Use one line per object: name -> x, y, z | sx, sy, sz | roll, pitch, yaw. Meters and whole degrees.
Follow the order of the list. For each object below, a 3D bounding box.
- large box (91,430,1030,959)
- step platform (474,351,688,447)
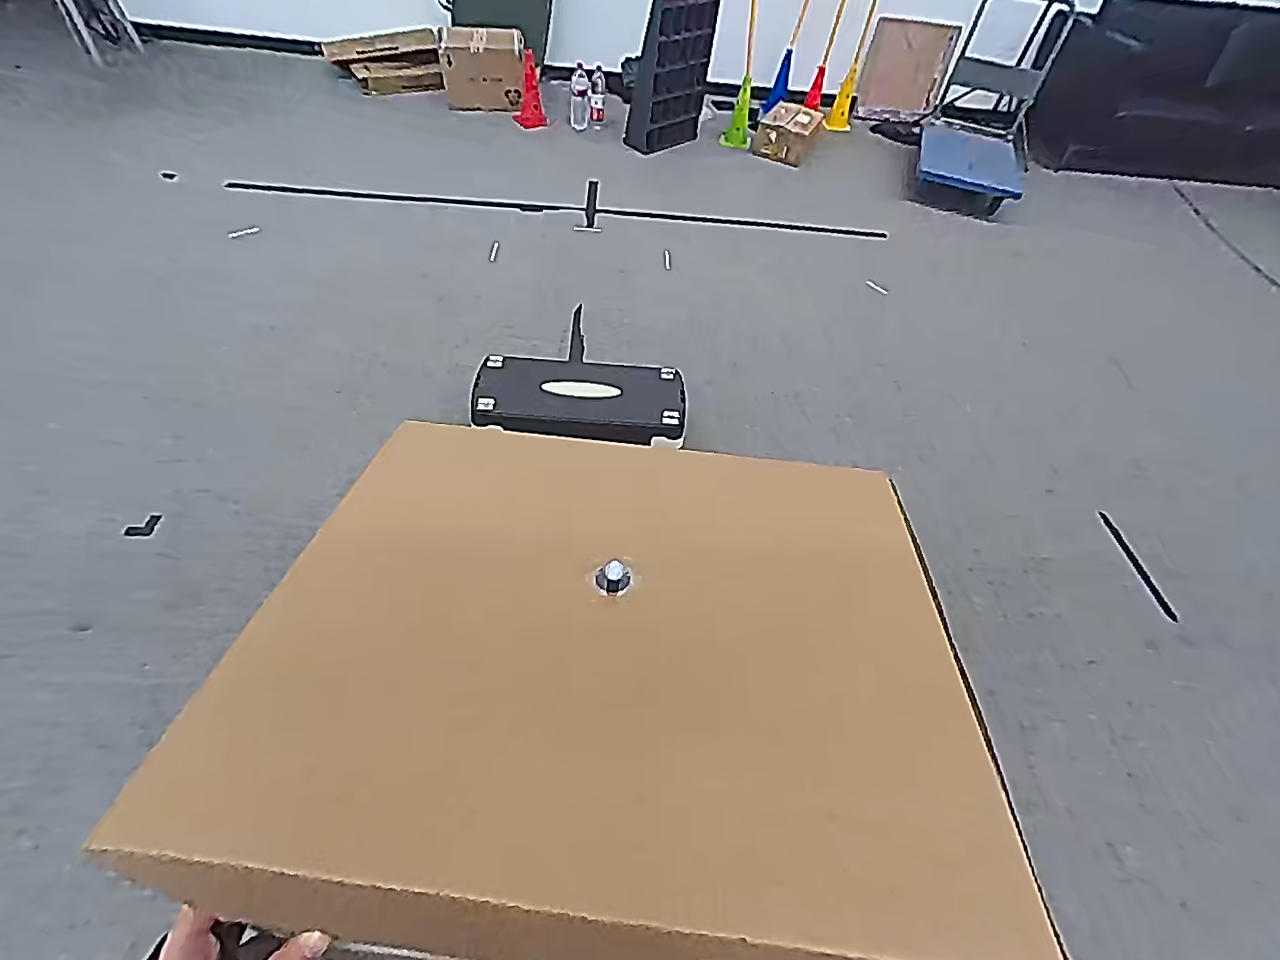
large box -> -0.034, 0.179, 0.430 | 0.408, 0.320, 0.320 | 5, 43, 3
step platform -> -0.183, -0.229, 1.775 | 0.684, 0.204, 0.286 | 8, 52, -2
